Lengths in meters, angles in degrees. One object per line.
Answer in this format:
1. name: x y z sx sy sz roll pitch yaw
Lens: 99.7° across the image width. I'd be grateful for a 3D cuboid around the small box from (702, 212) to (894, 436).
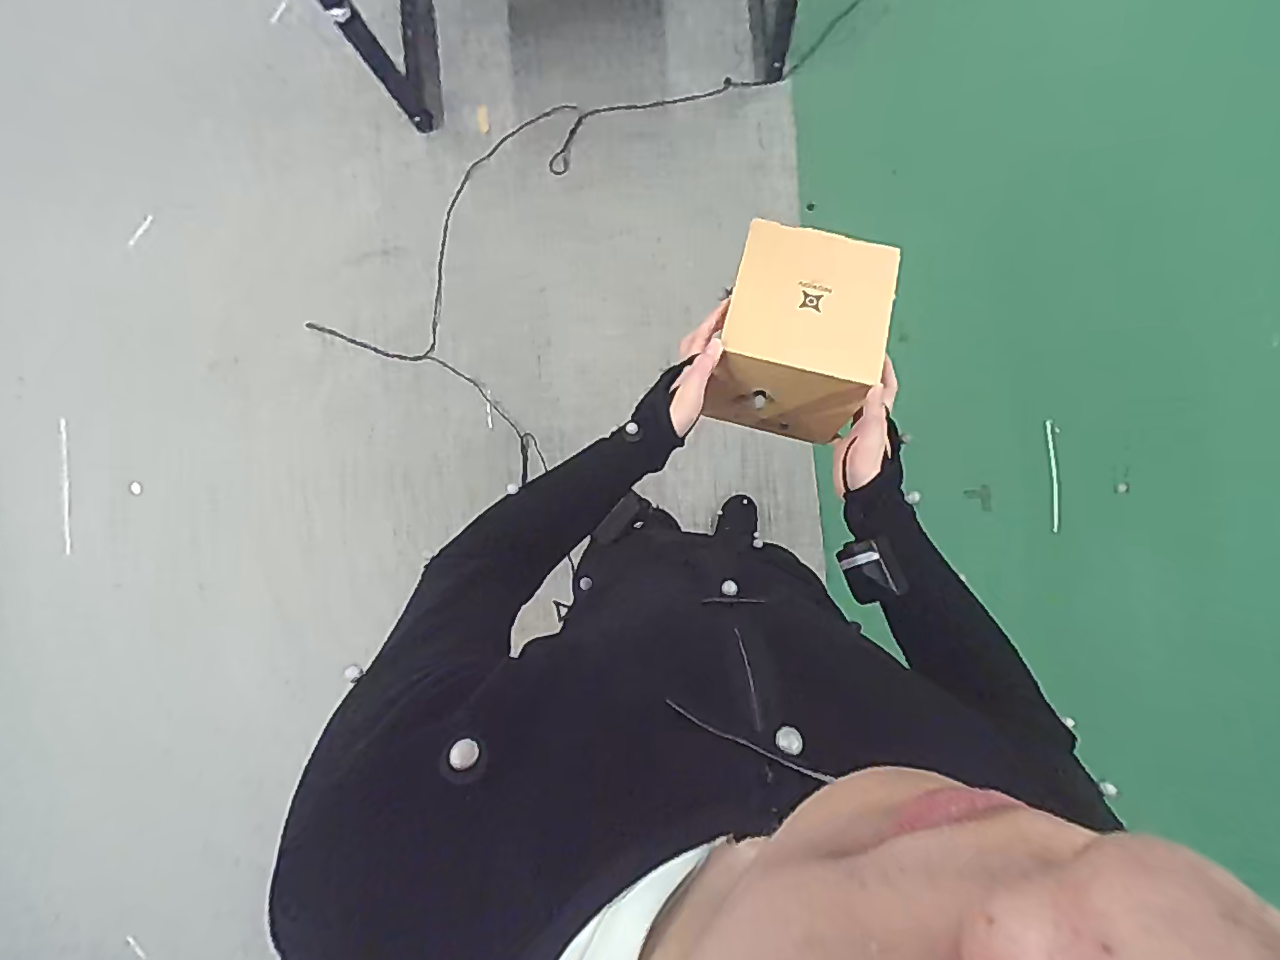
1. small box: 0.173 -0.171 0.637 0.168 0.176 0.179 14 72 5
